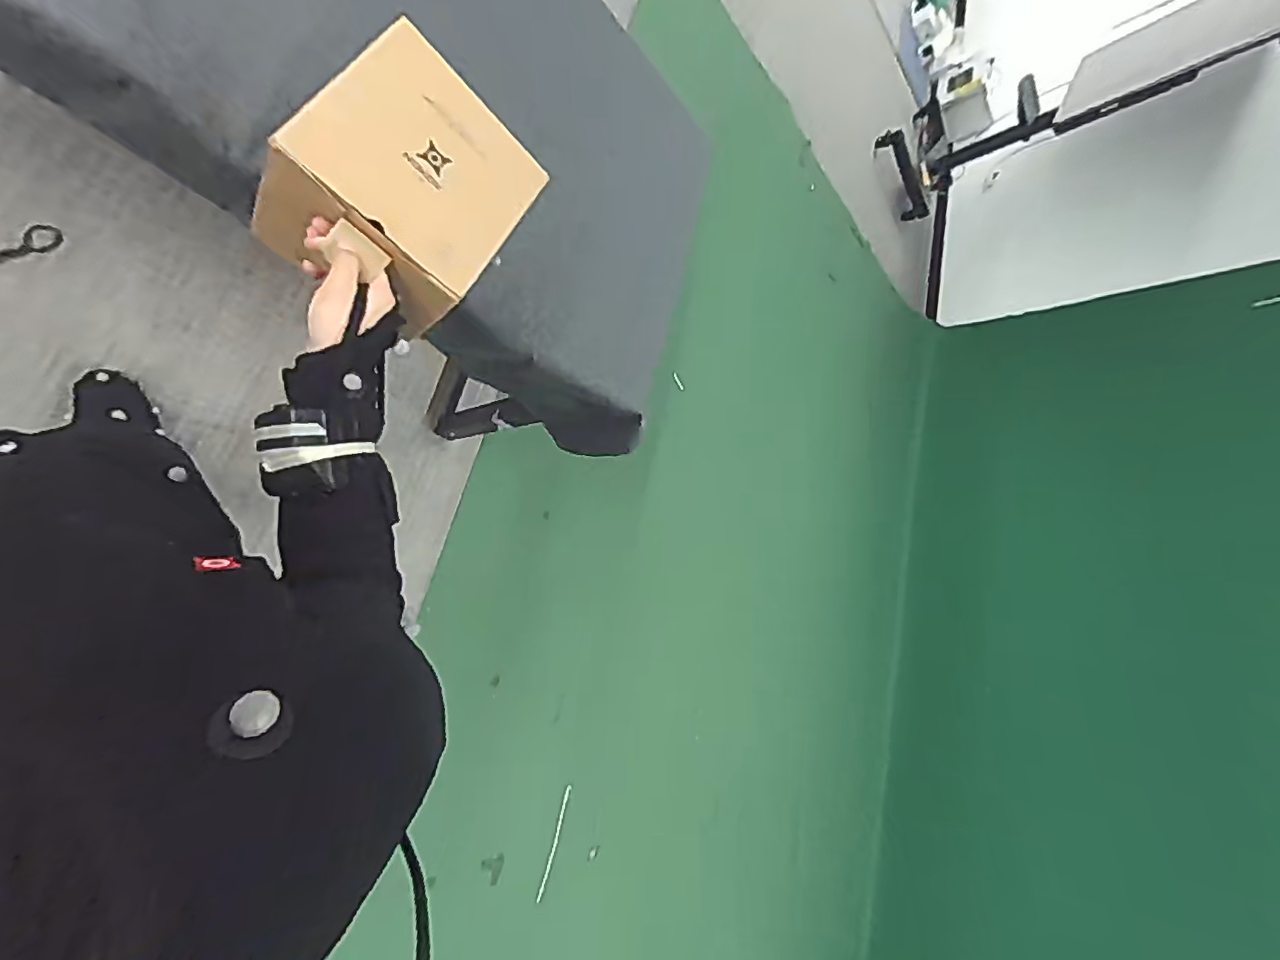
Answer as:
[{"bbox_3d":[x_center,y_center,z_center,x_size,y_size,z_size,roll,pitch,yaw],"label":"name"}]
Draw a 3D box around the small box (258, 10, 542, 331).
[{"bbox_3d":[-0.232,-0.273,0.520,0.168,0.176,0.179,39,63,-33],"label":"small box"}]
